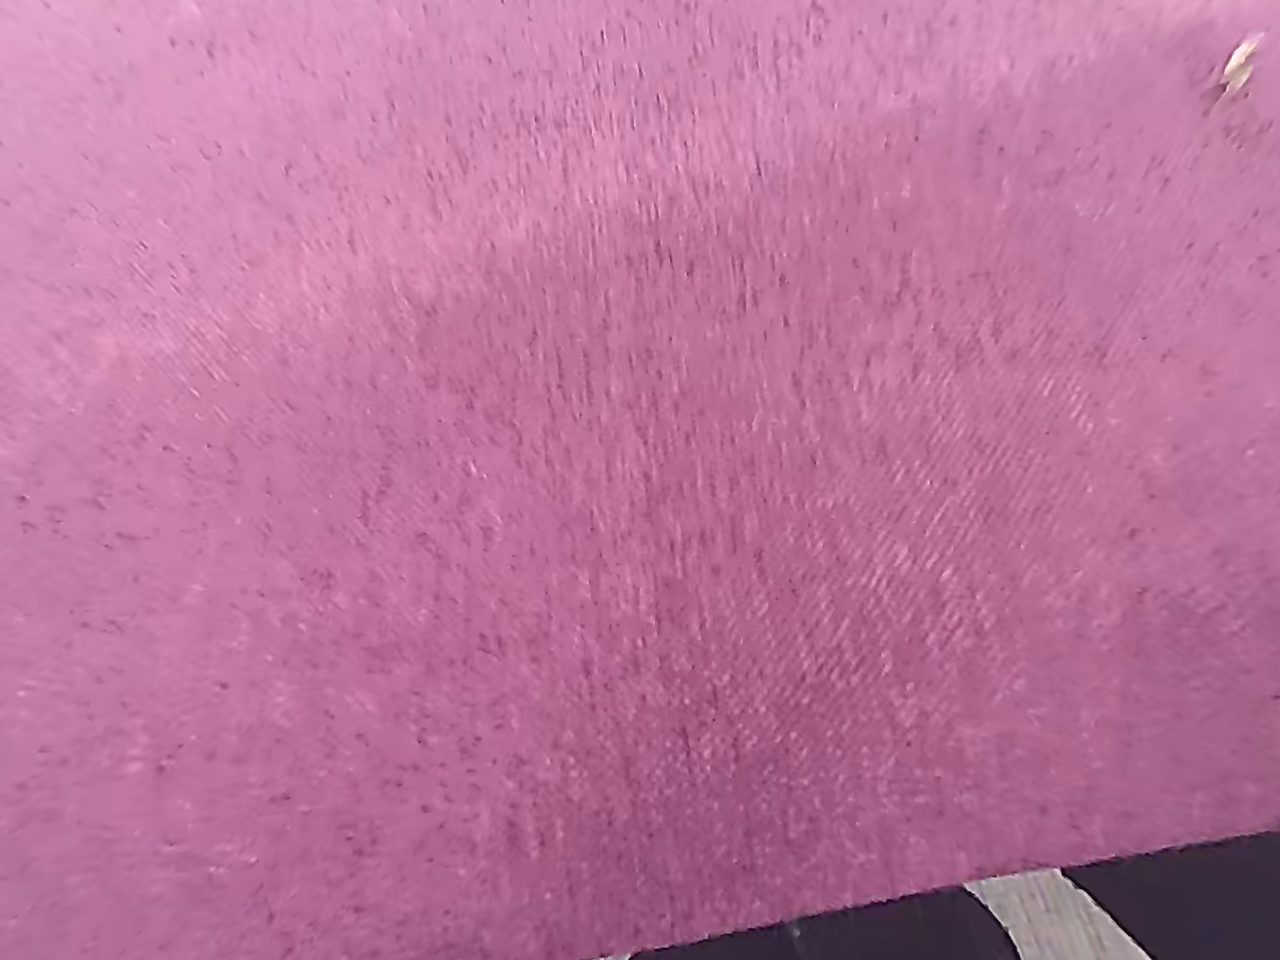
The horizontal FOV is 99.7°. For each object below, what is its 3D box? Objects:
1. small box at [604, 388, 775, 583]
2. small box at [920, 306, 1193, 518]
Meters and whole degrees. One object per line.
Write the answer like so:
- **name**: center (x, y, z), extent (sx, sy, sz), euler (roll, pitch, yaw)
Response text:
- **small box**: center (0.056, 0.015, 0.663), extent (0.168, 0.176, 0.179), euler (-10, 69, 3)
- **small box**: center (0.468, -0.072, 0.647), extent (0.168, 0.176, 0.179), euler (-12, 68, 3)
